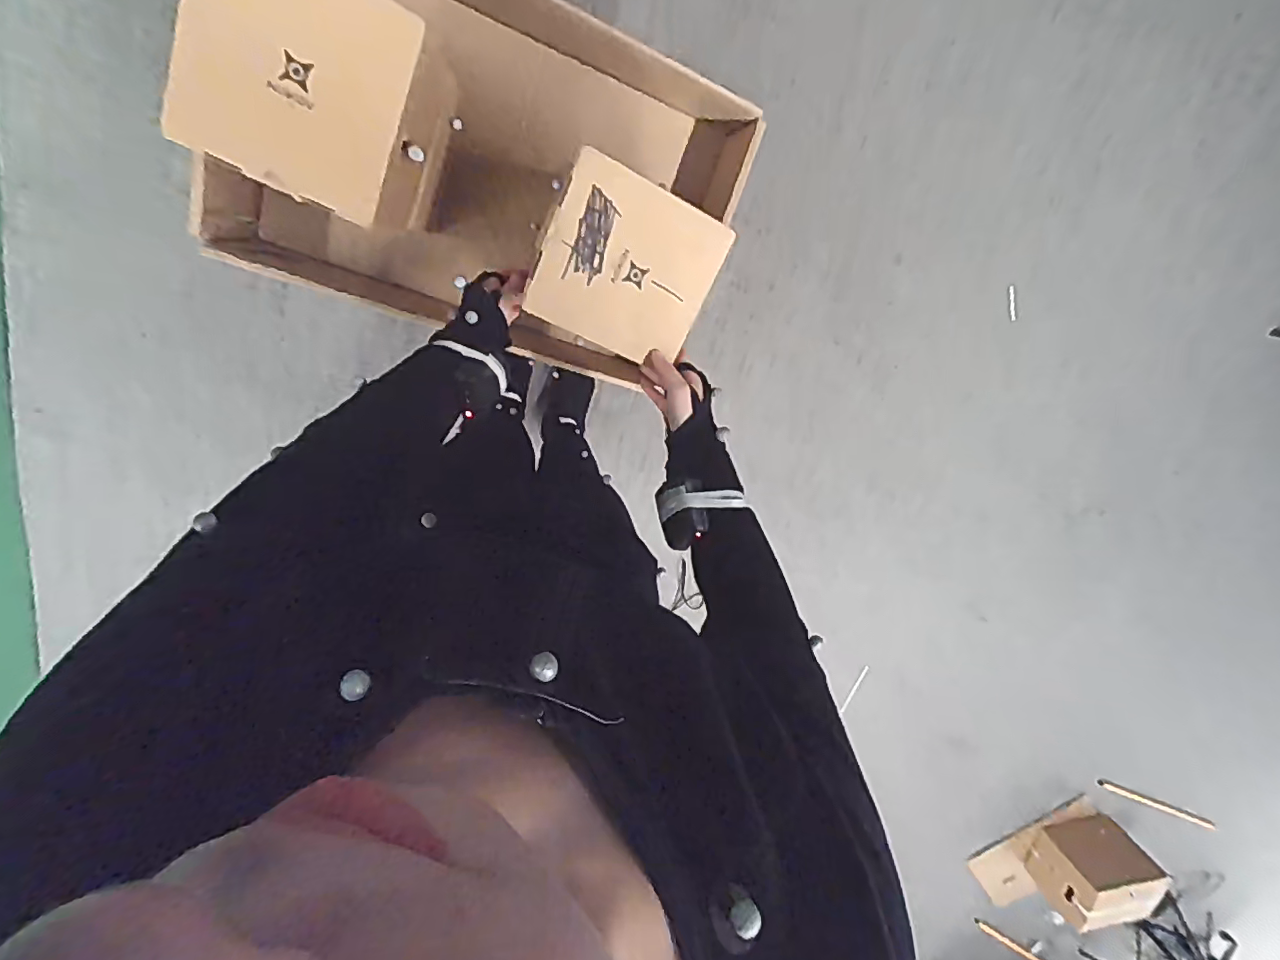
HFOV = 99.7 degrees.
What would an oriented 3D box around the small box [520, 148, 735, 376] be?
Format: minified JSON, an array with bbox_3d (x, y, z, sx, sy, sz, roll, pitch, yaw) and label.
[{"bbox_3d":[-0.026,-0.243,0.626,0.179,0.176,0.168,21,108,-19],"label":"small box"}]

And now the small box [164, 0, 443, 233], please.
[{"bbox_3d":[-0.299,-0.360,0.519,0.168,0.176,0.179,20,108,-19],"label":"small box"}]
